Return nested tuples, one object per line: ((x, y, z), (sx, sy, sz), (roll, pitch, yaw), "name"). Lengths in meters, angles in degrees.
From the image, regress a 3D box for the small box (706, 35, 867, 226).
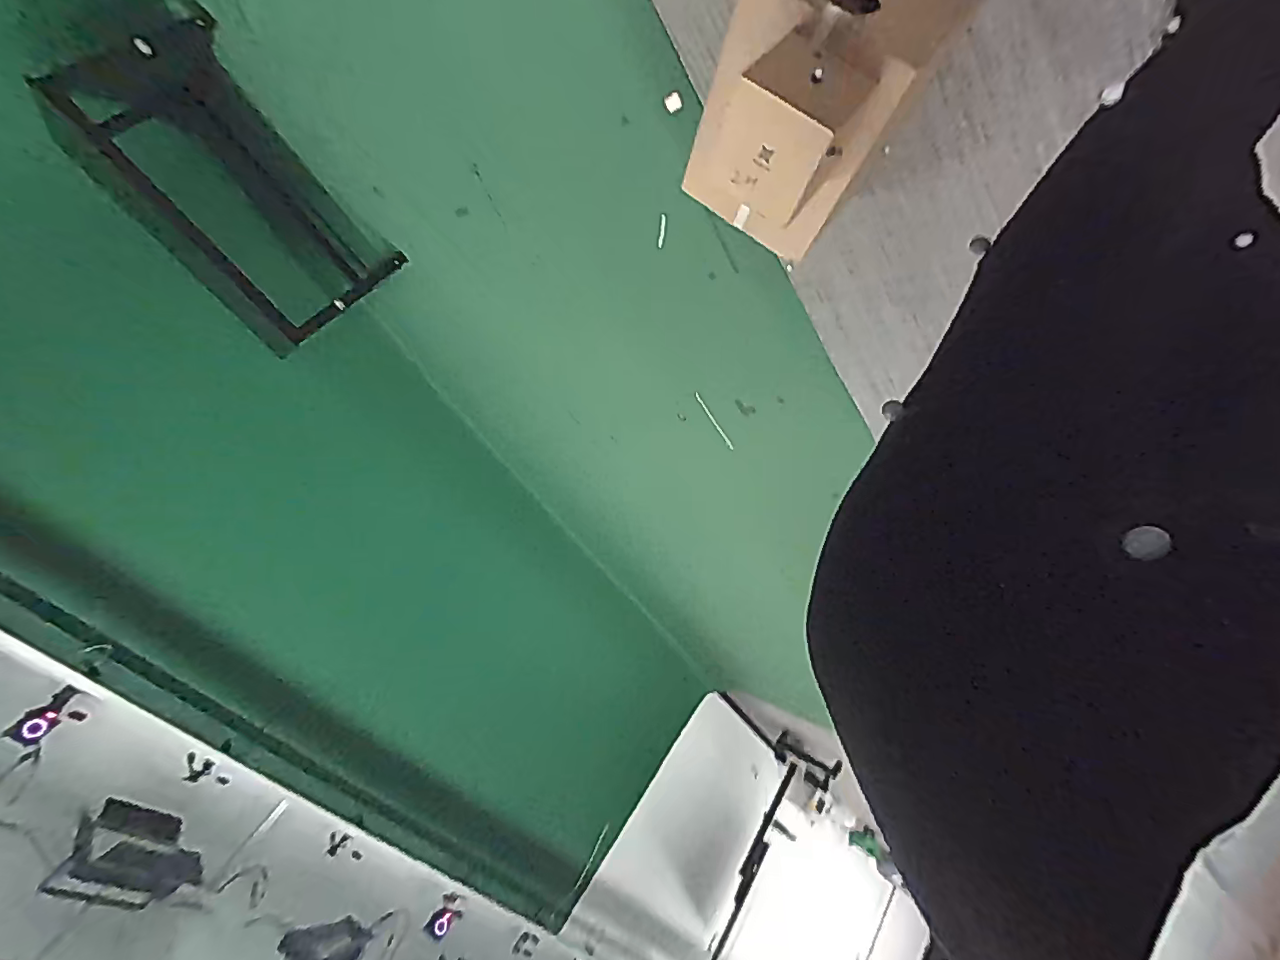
((0.239, -0.567, 0.878), (0.168, 0.176, 0.179), (36, 156, 5), "small box")

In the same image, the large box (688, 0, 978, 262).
((0.342, -0.734, 1.047), (0.320, 0.320, 0.408), (38, 157, 5), "large box")
